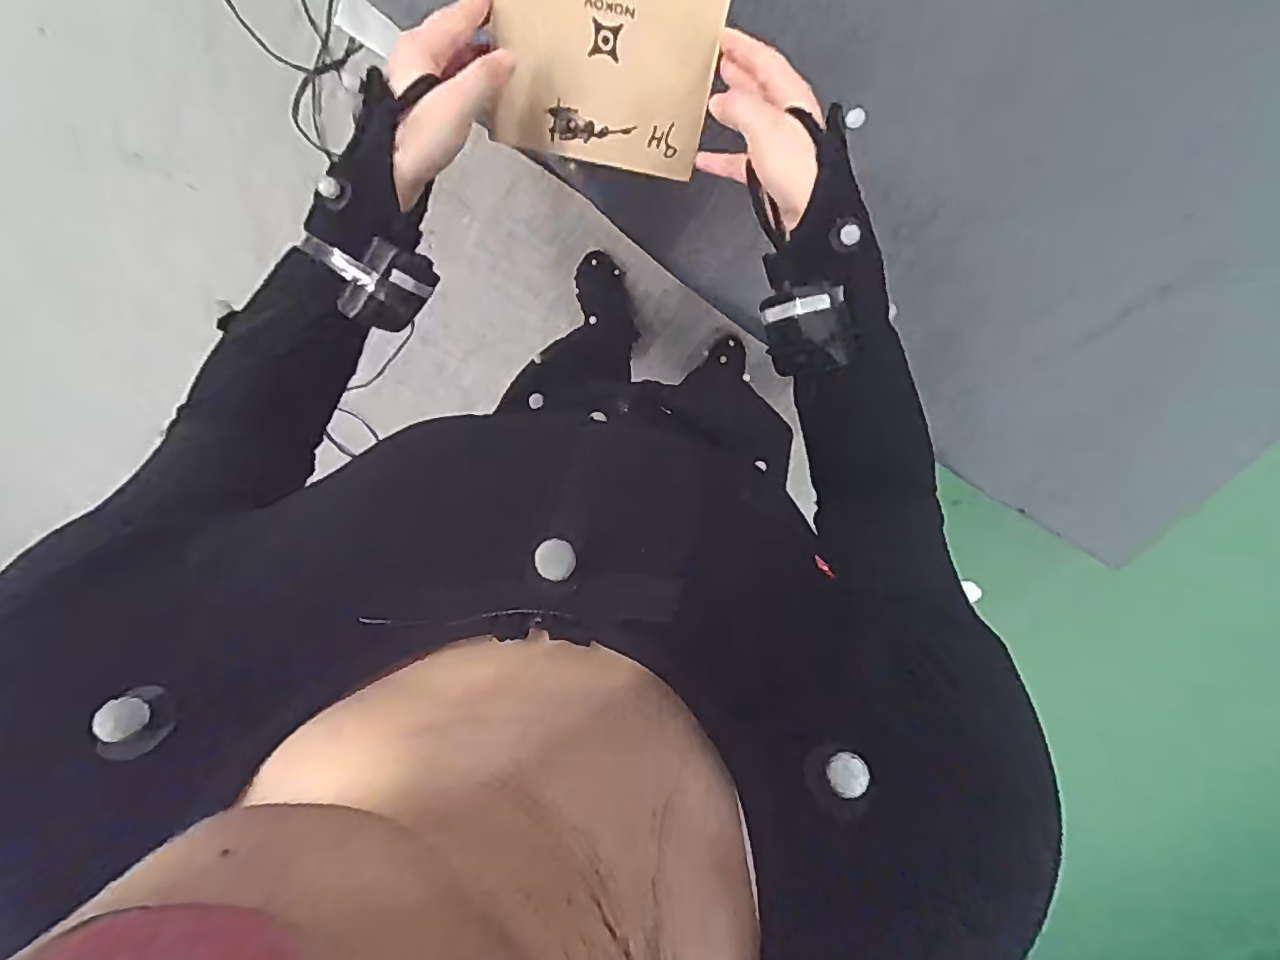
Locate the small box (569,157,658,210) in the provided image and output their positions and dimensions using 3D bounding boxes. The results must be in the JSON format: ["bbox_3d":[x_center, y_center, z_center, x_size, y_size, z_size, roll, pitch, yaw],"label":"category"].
[{"bbox_3d":[-0.026,-0.696,1.139,0.168,0.176,0.179,35,111,-14],"label":"small box"}]

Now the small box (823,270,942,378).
[{"bbox_3d":[0.556,-0.372,1.274,0.168,0.176,0.179,26,113,-11],"label":"small box"}]

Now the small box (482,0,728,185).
[{"bbox_3d":[-0.031,-0.372,0.448,0.168,0.176,0.179,8,126,-11],"label":"small box"}]
